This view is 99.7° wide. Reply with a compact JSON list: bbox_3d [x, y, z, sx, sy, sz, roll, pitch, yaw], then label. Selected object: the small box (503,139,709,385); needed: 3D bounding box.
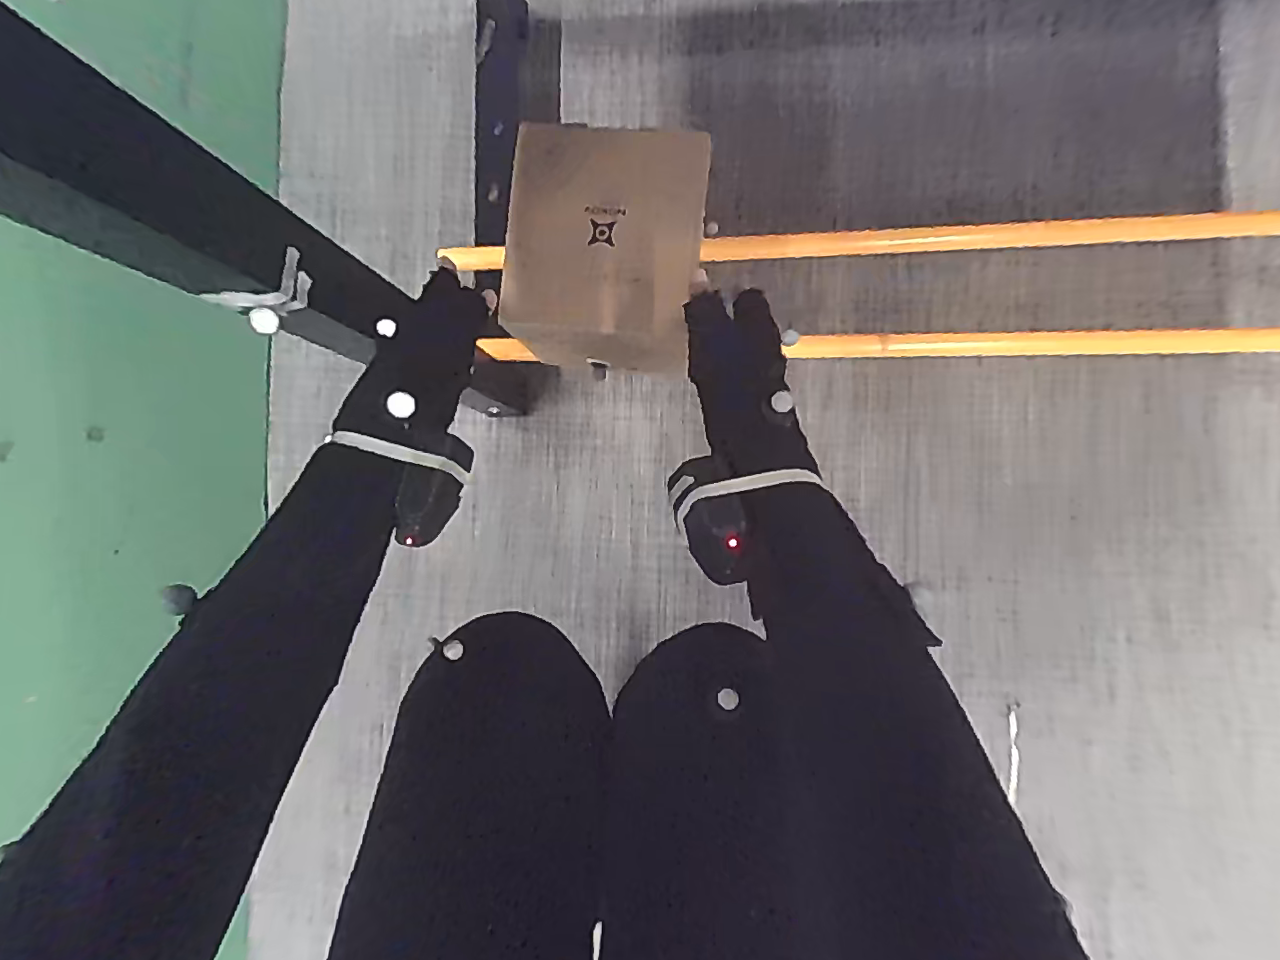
[{"bbox_3d":[-0.024,-0.204,0.547,0.168,0.176,0.179,6,90,5],"label":"small box"}]
